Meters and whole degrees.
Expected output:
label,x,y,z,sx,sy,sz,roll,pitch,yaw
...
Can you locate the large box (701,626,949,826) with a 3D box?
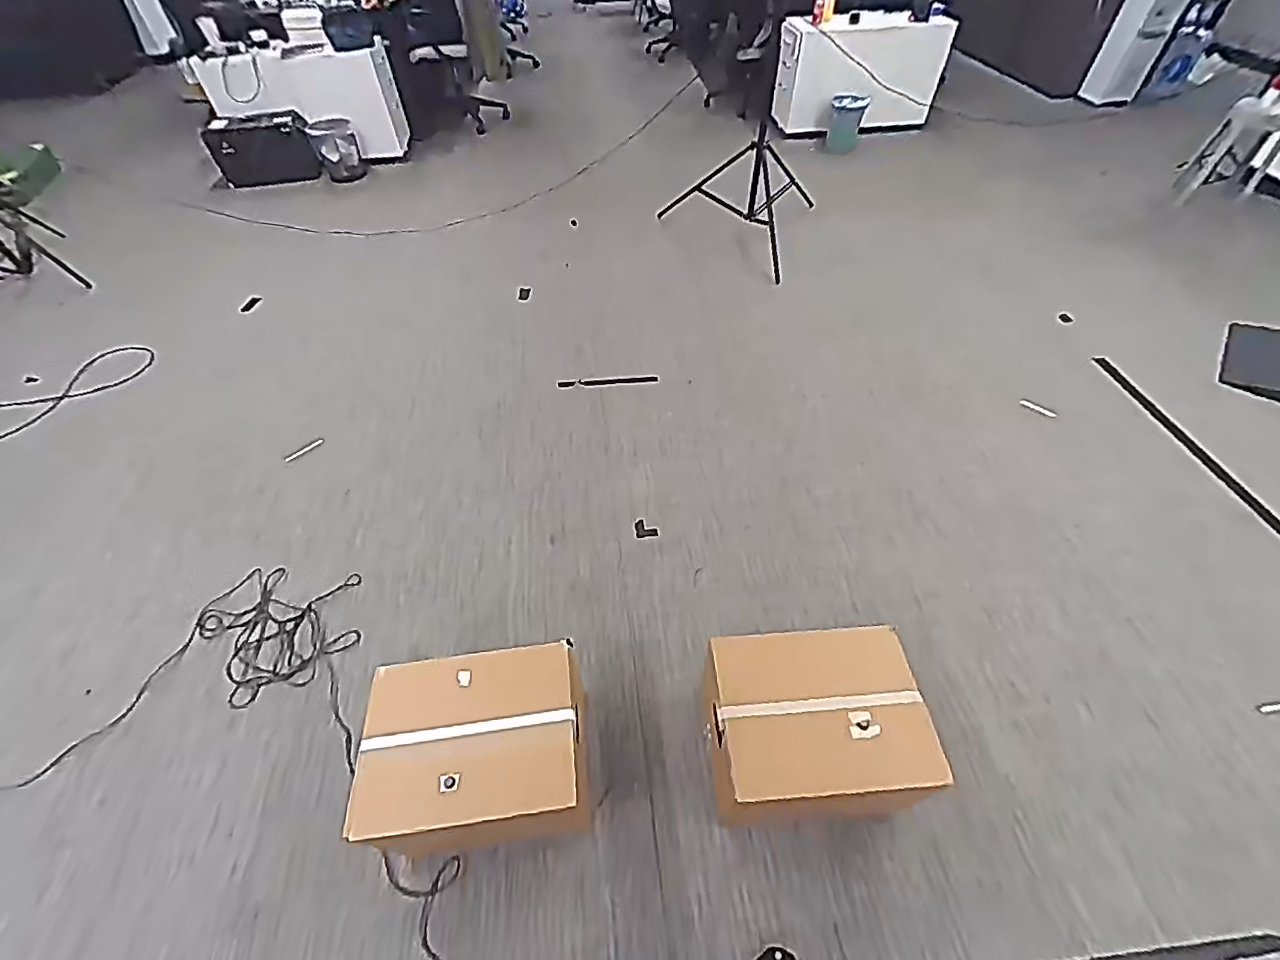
label,x,y,z,sx,sy,sz,roll,pitch,yaw
large box,0.365,0.547,1.196,0.408,0.320,0.320,-3,50,-2
